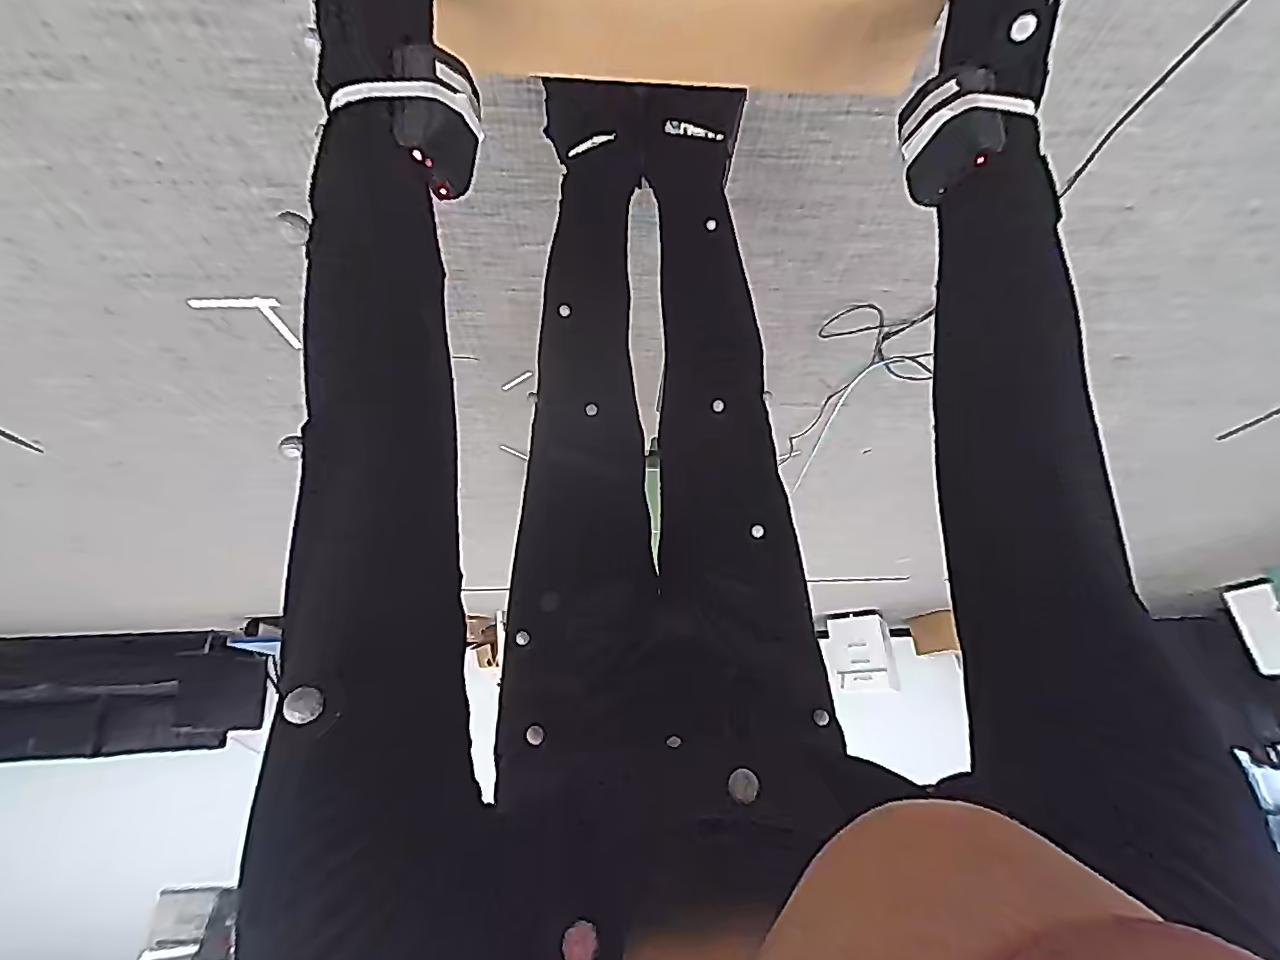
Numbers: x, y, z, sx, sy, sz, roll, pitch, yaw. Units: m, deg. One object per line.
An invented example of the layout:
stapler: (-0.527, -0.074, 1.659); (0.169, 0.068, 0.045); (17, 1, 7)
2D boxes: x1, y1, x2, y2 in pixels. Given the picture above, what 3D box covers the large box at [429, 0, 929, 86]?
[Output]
large box: (0.030, -0.551, 0.402); (0.408, 0.320, 0.320); (-1, 155, -5)
